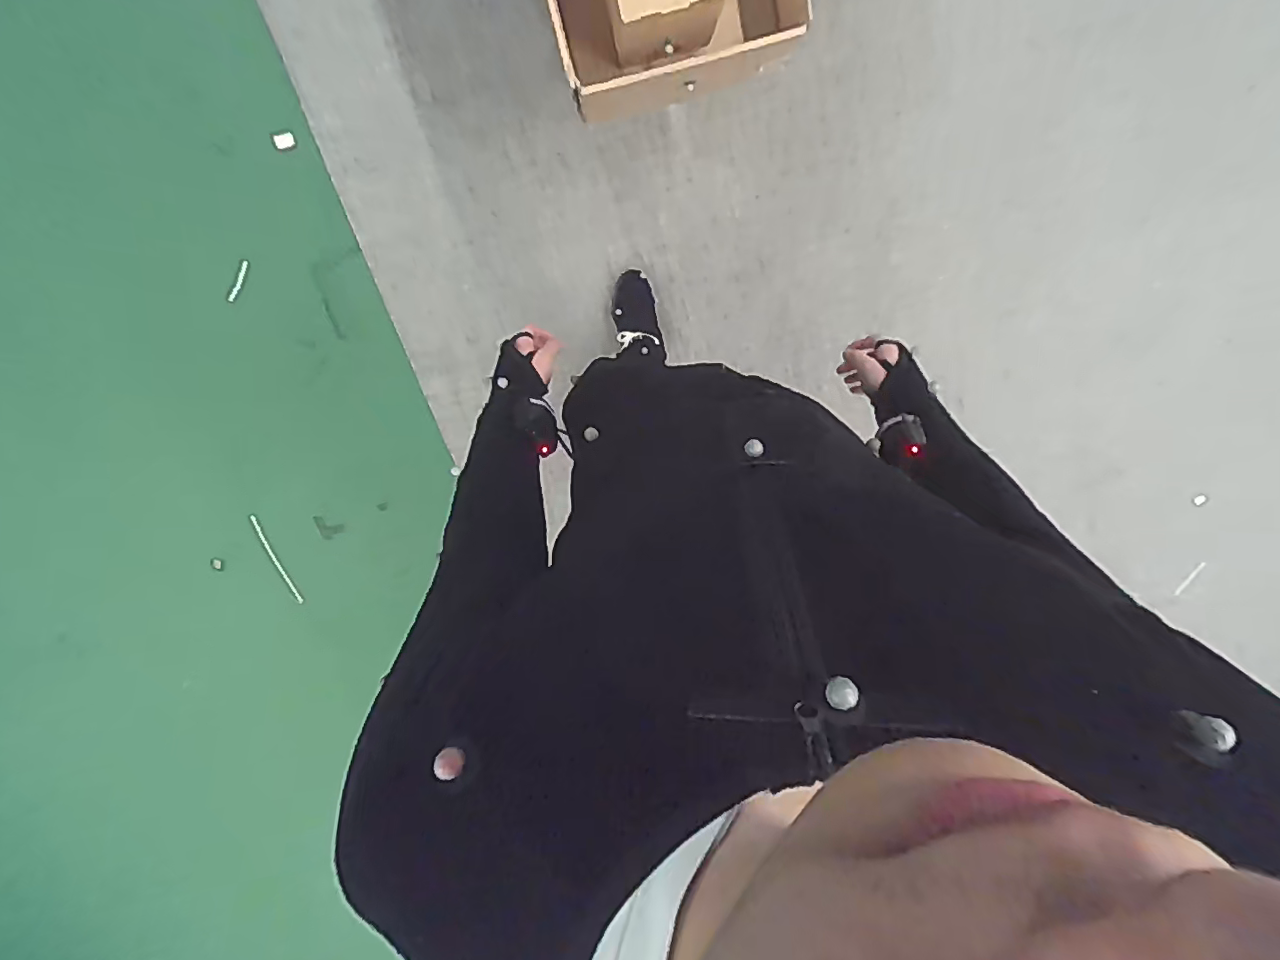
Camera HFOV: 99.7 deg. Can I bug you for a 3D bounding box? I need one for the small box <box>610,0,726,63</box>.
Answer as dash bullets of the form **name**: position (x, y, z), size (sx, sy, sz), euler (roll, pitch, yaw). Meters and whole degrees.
- **small box**: position (0.031, -0.808, 0.849), size (0.168, 0.176, 0.179), euler (-14, 108, 3)
